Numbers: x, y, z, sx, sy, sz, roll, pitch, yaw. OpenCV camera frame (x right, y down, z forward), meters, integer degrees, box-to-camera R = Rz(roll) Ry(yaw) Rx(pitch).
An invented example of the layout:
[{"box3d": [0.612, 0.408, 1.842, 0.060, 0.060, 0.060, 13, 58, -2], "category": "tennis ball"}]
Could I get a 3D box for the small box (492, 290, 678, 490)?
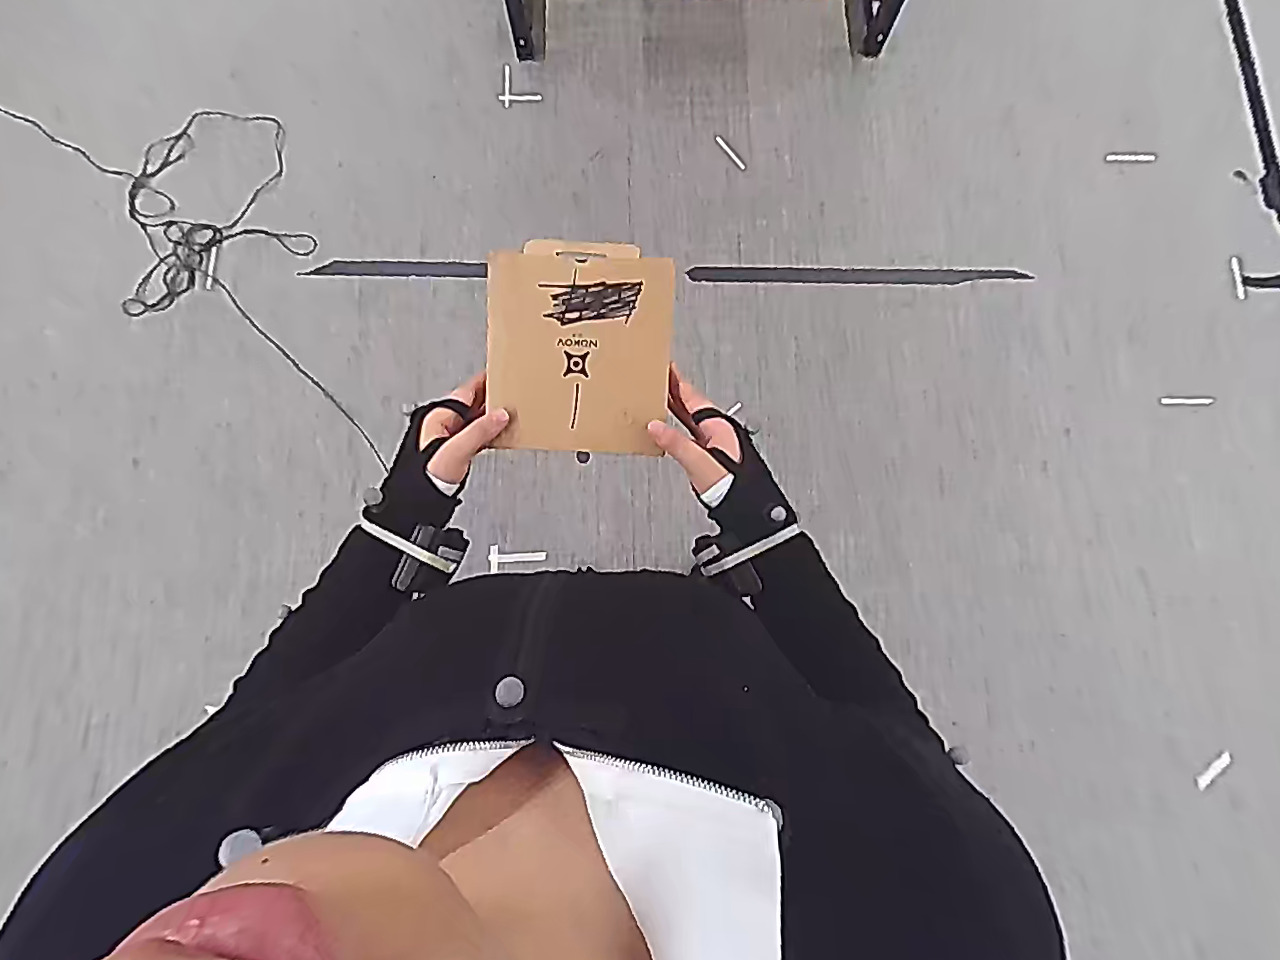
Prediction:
[{"box3d": [-0.052, -0.088, 0.574, 0.168, 0.176, 0.179, 3, 96, 1], "category": "small box"}]
